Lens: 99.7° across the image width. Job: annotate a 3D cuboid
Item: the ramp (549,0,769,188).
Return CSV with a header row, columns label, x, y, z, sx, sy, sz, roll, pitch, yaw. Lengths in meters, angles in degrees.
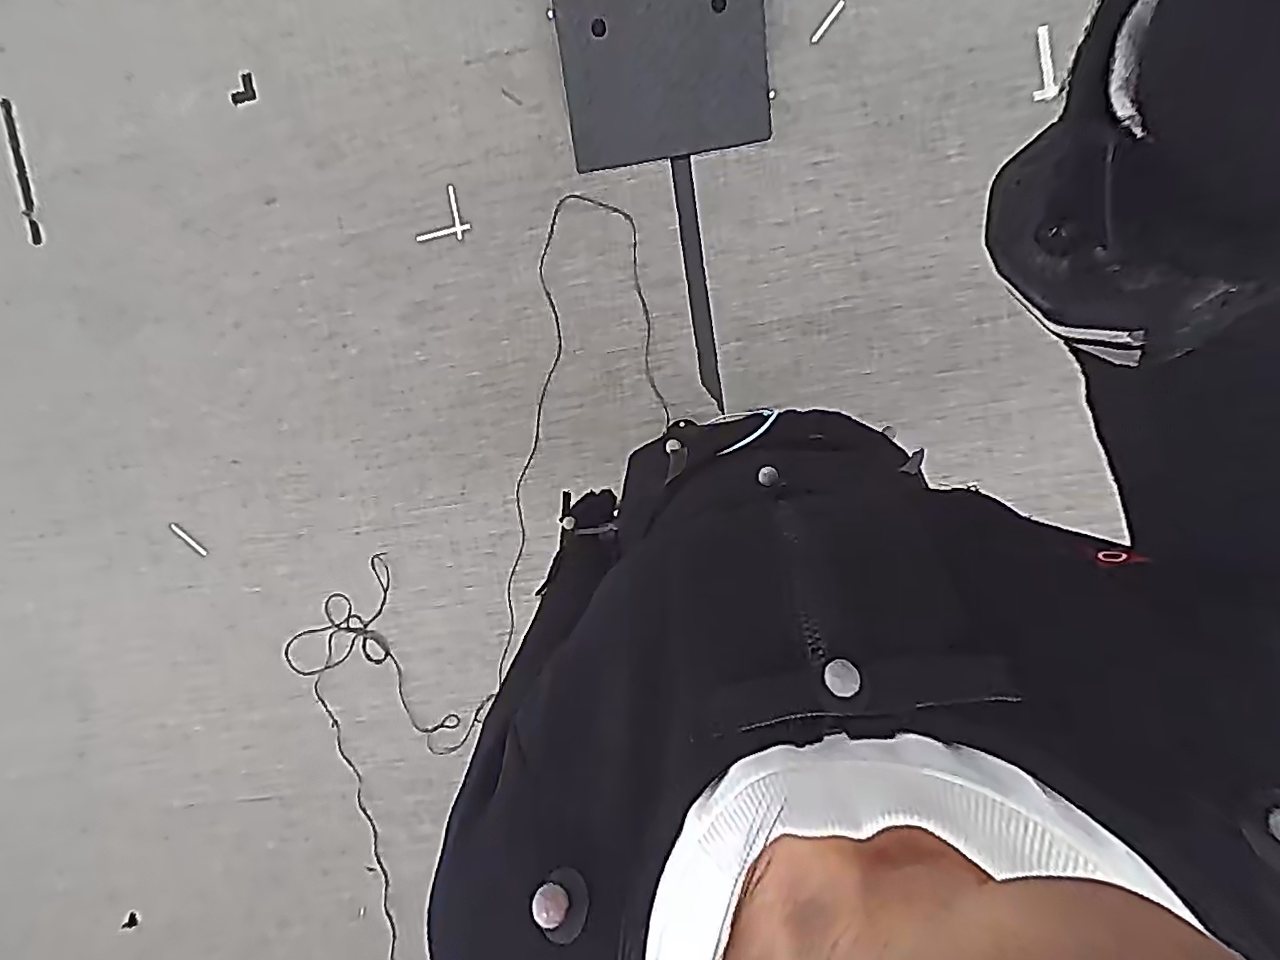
label,x,y,z,sx,sy,sz,roll,pitch,yaw
ramp,0.009,-1.267,1.259,0.509,0.206,0.991,-9,95,6
